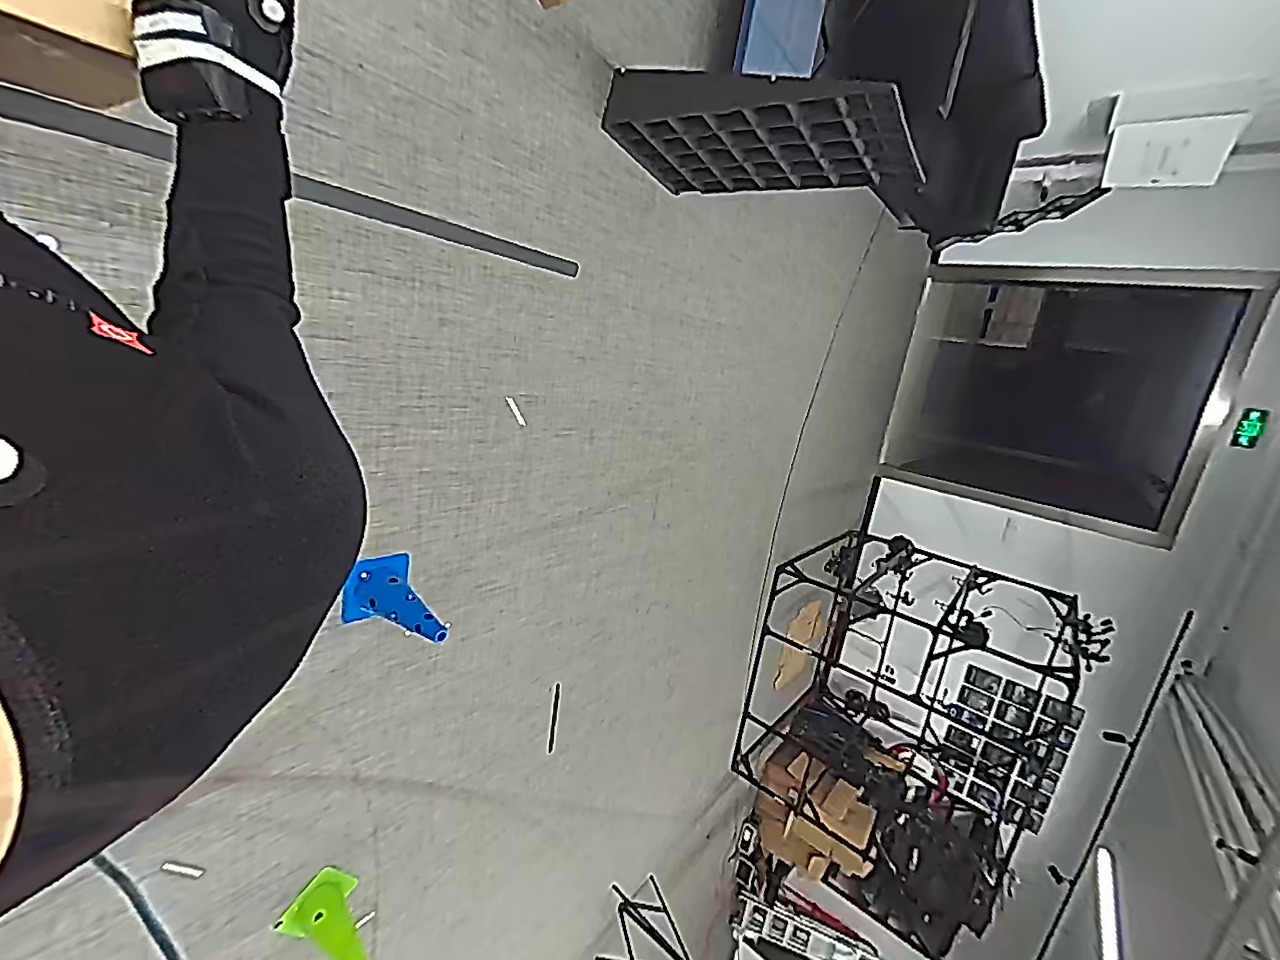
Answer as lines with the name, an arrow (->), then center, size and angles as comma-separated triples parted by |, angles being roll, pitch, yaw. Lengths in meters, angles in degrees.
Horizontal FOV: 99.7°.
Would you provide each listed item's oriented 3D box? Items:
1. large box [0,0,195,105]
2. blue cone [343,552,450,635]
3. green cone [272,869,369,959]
large box -> -0.537, -0.454, 0.276 | 0.408, 0.320, 0.320 | -12, 118, -52
blue cone -> -0.692, 0.366, 1.587 | 0.192, 0.380, 0.193 | -4, 108, -54
green cone -> -0.951, 1.461, 1.711 | 0.202, 0.368, 0.200 | -50, 140, -30
